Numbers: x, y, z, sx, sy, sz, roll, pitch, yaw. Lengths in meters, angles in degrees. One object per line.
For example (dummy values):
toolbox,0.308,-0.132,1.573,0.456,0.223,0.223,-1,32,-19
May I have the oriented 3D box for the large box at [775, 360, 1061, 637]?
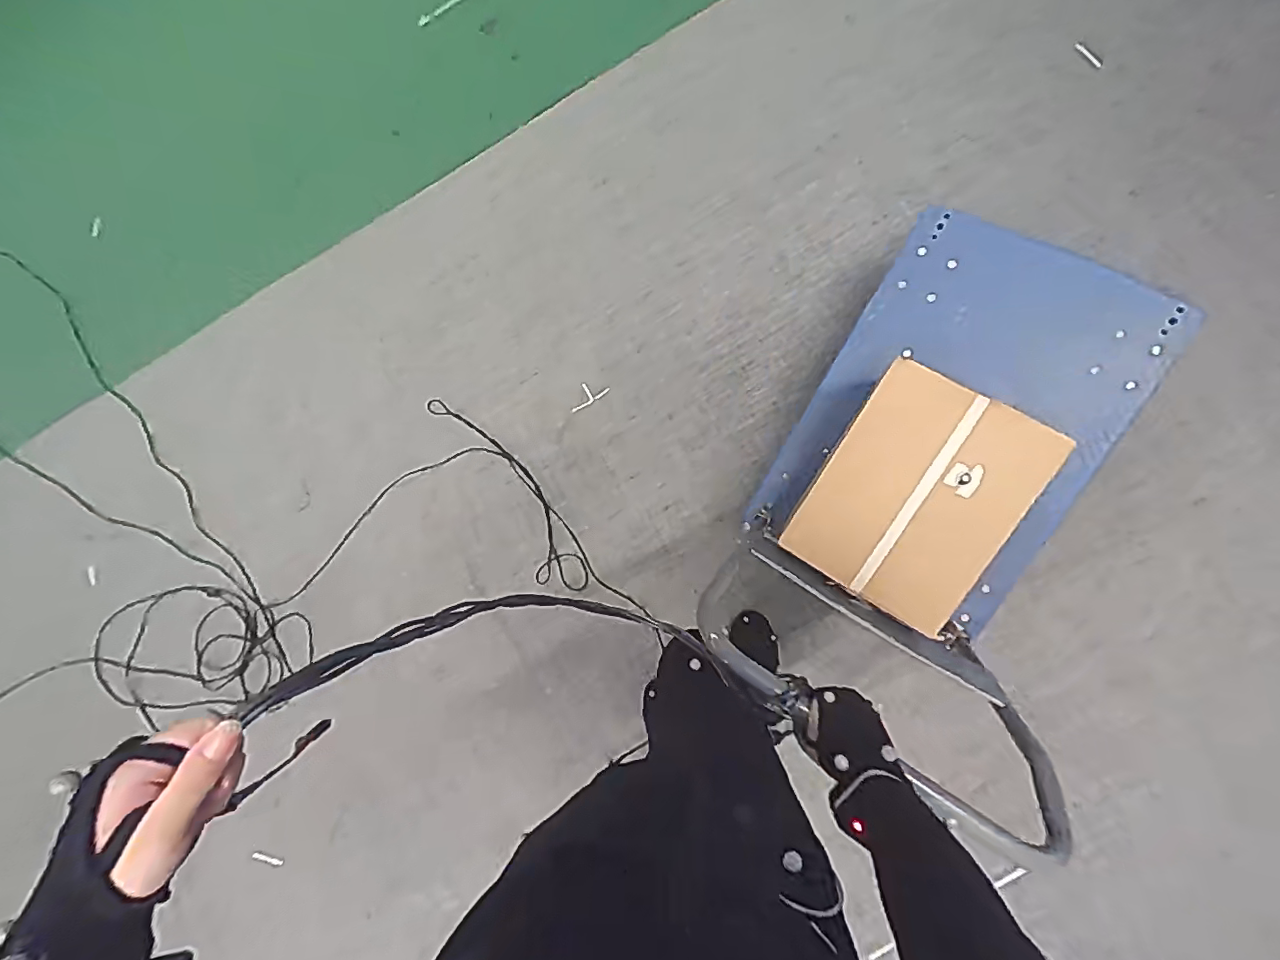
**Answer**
large box,0.517,0.033,1.098,0.320,0.320,0.408,34,100,13
